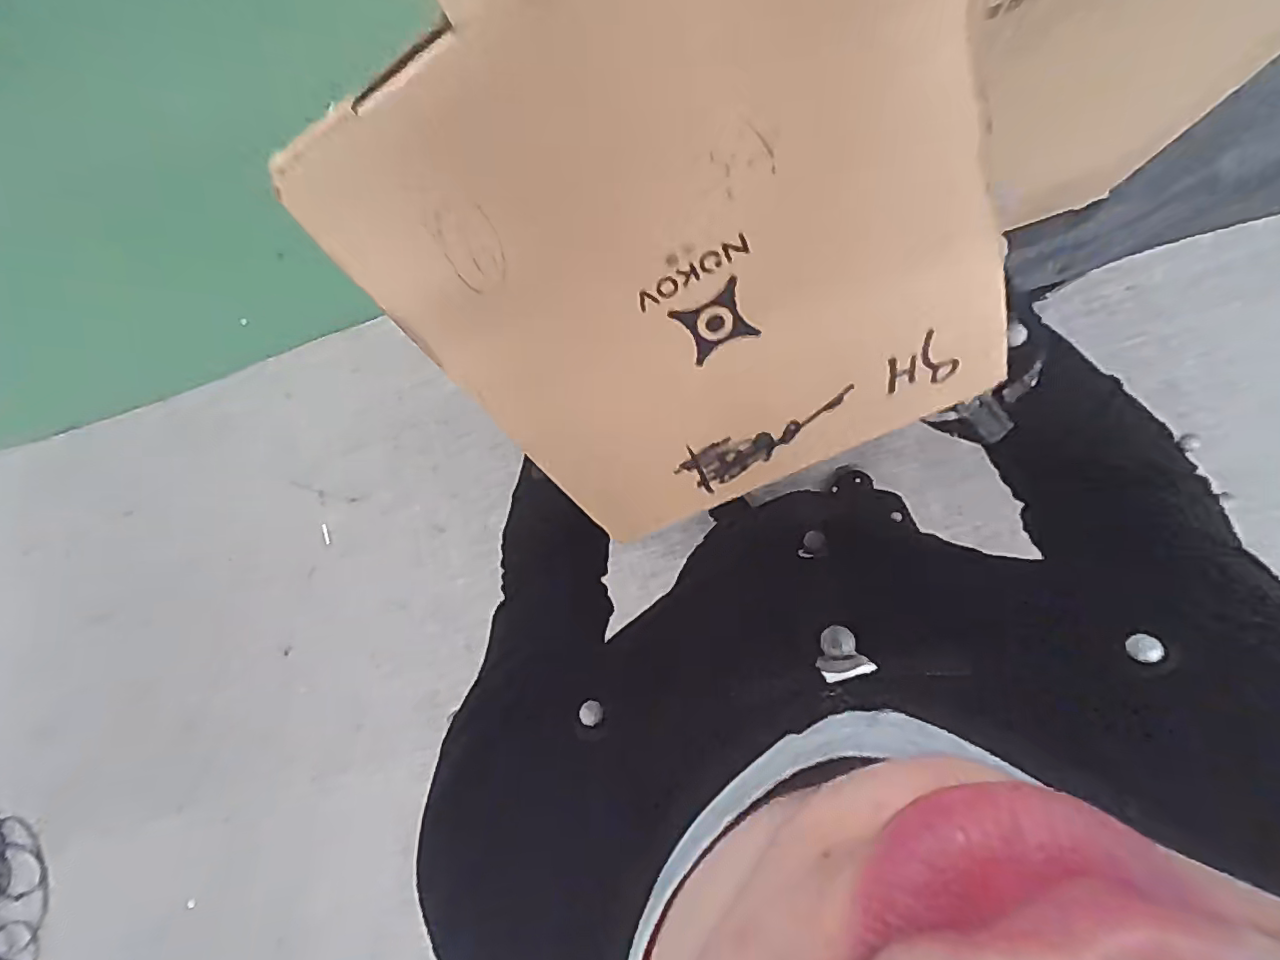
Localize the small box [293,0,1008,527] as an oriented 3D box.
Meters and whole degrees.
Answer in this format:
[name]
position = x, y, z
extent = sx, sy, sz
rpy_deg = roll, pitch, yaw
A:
[small box]
position = 0.017, -0.117, 0.224
extent = 0.168, 0.179, 0.176
rpy_deg = -23, 41, 17
